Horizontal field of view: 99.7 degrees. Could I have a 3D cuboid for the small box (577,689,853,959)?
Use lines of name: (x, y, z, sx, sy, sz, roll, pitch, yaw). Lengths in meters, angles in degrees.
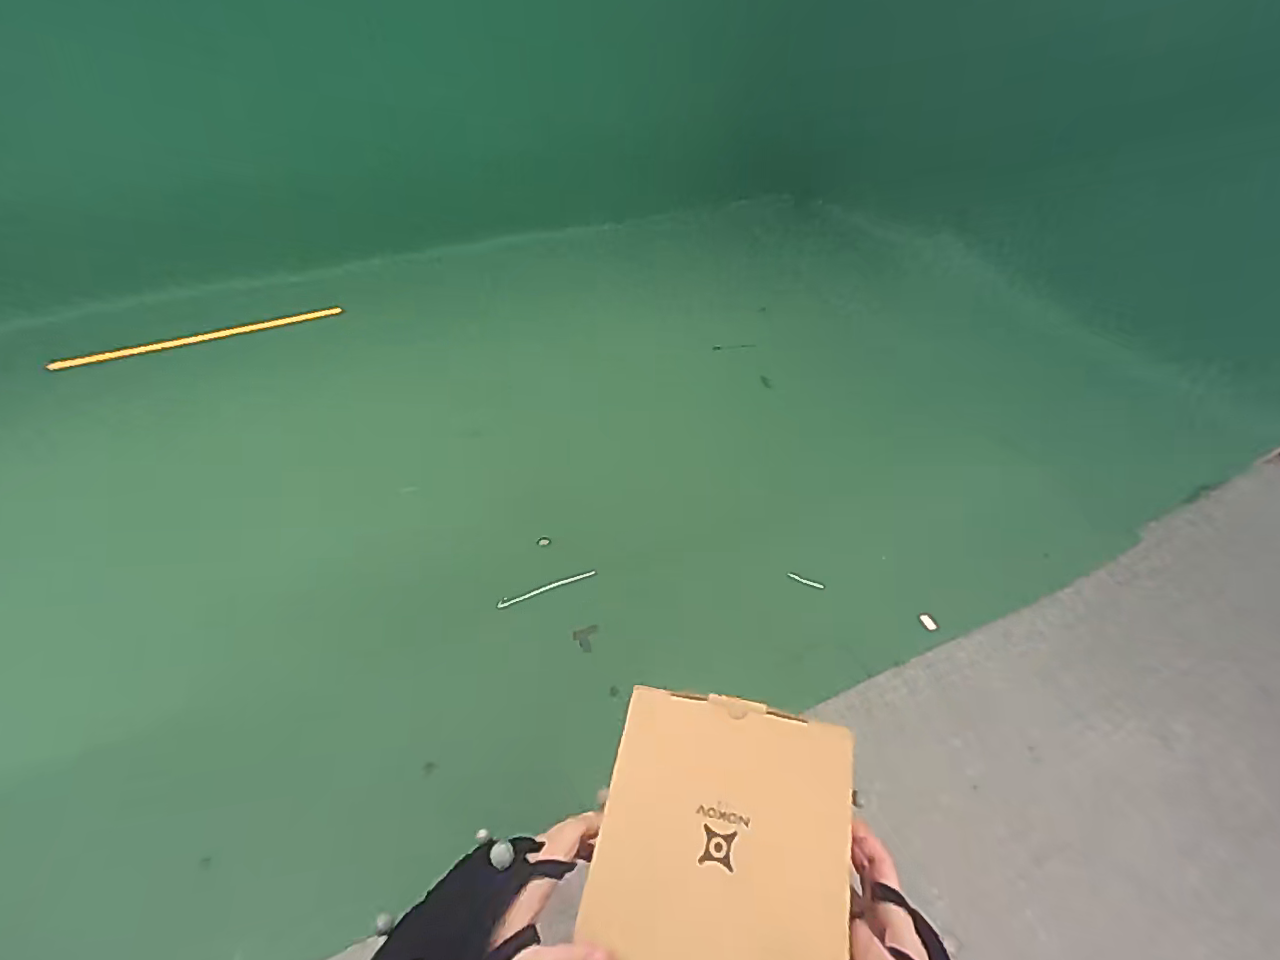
small box: (0.071, 0.291, 0.425, 0.168, 0.176, 0.179, 4, 52, 16)
